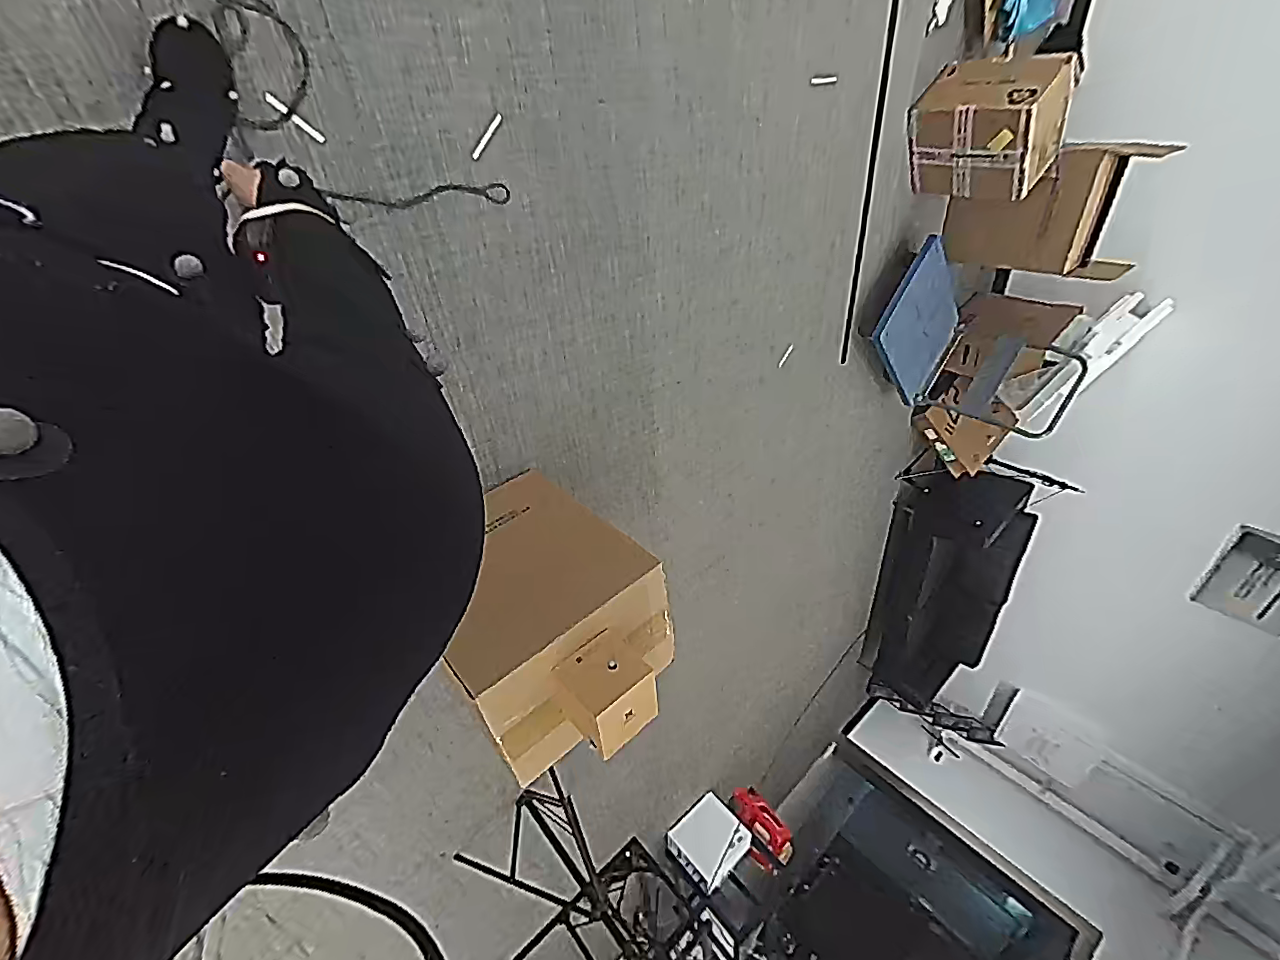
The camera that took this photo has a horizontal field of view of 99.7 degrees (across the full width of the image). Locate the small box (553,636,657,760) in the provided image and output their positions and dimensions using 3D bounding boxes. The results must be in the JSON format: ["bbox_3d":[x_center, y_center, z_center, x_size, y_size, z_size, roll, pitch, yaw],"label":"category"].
[{"bbox_3d":[-0.080,0.484,1.235,0.168,0.176,0.179,-30,133,-32],"label":"small box"}]
